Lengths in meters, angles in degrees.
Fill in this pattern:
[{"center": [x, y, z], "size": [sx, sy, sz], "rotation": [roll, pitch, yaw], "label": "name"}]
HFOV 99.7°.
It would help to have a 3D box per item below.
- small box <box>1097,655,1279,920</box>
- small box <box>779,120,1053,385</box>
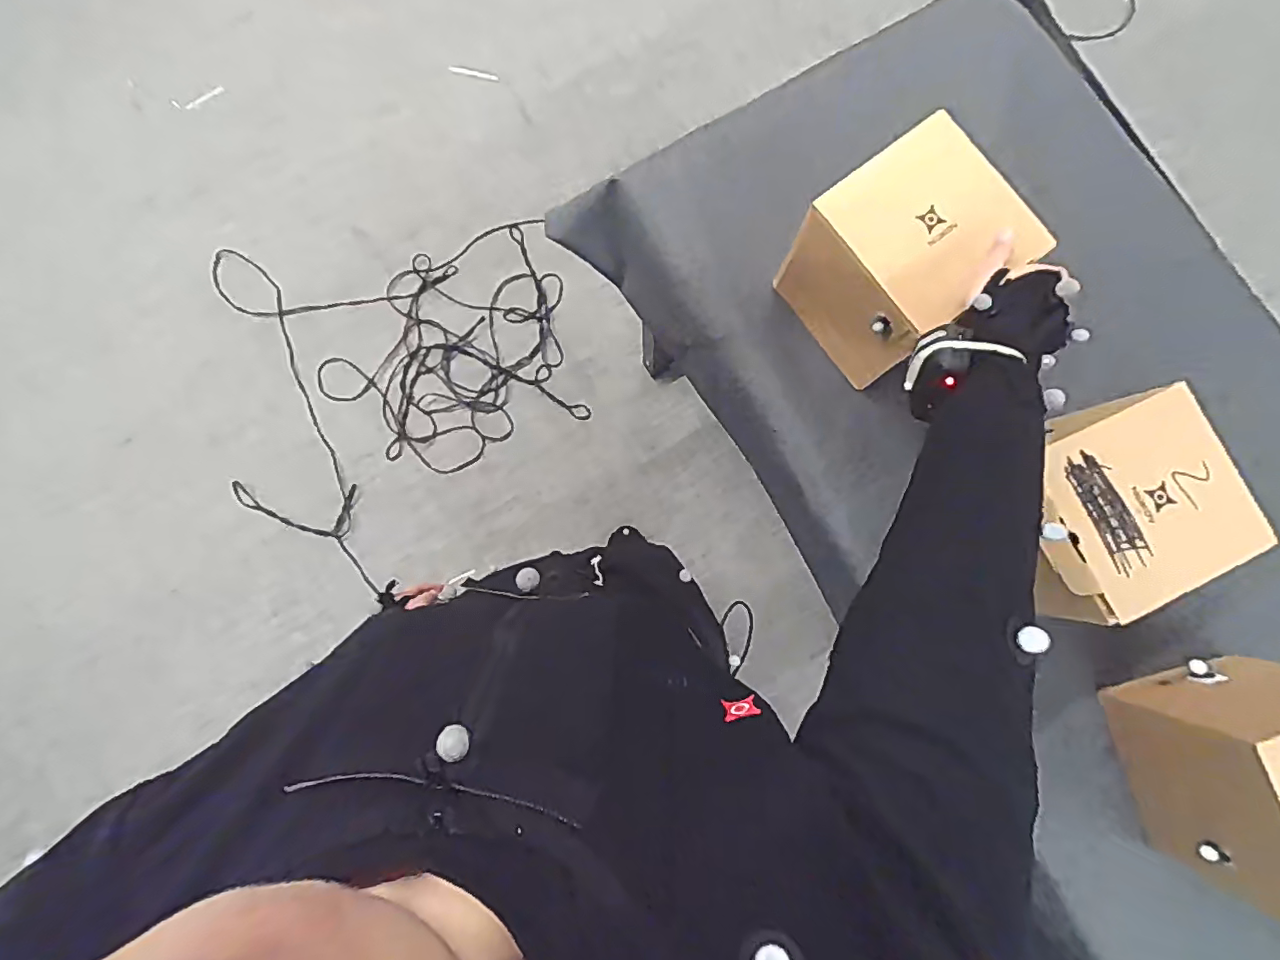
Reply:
[{"center": [0.627, 0.296, 0.544], "size": [0.168, 0.176, 0.179], "rotation": [-15, 83, -2], "label": "small box"}, {"center": [0.282, -0.233, 0.600], "size": [0.168, 0.176, 0.179], "rotation": [-37, 86, -4], "label": "small box"}]
